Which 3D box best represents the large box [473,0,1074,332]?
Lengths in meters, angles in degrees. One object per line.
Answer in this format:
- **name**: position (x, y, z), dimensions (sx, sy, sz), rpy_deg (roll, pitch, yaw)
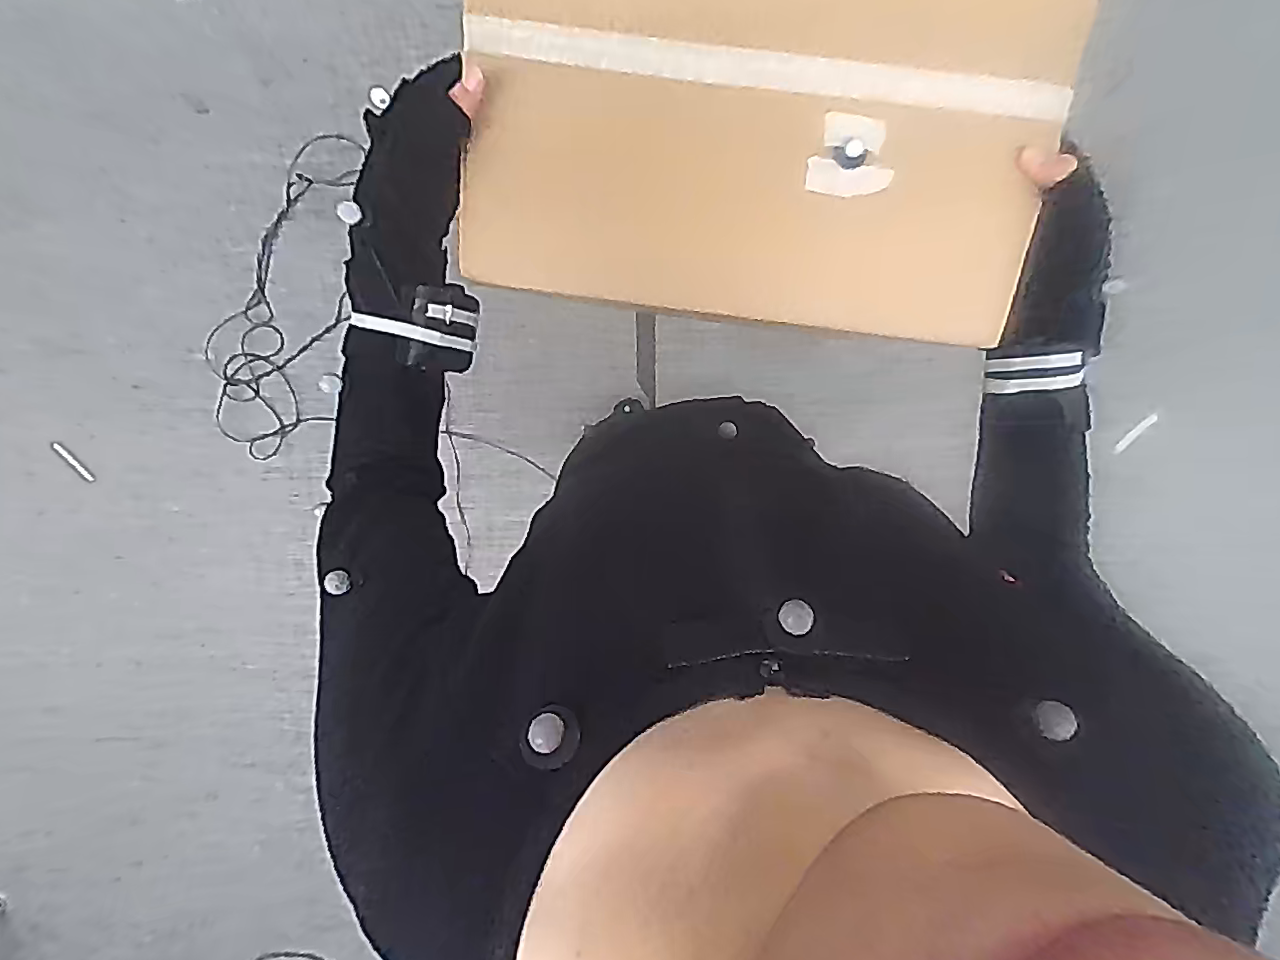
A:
- **large box**: position (0.086, -0.320, 0.518), dimensions (0.408, 0.320, 0.320), rpy_deg (7, 106, 0)
